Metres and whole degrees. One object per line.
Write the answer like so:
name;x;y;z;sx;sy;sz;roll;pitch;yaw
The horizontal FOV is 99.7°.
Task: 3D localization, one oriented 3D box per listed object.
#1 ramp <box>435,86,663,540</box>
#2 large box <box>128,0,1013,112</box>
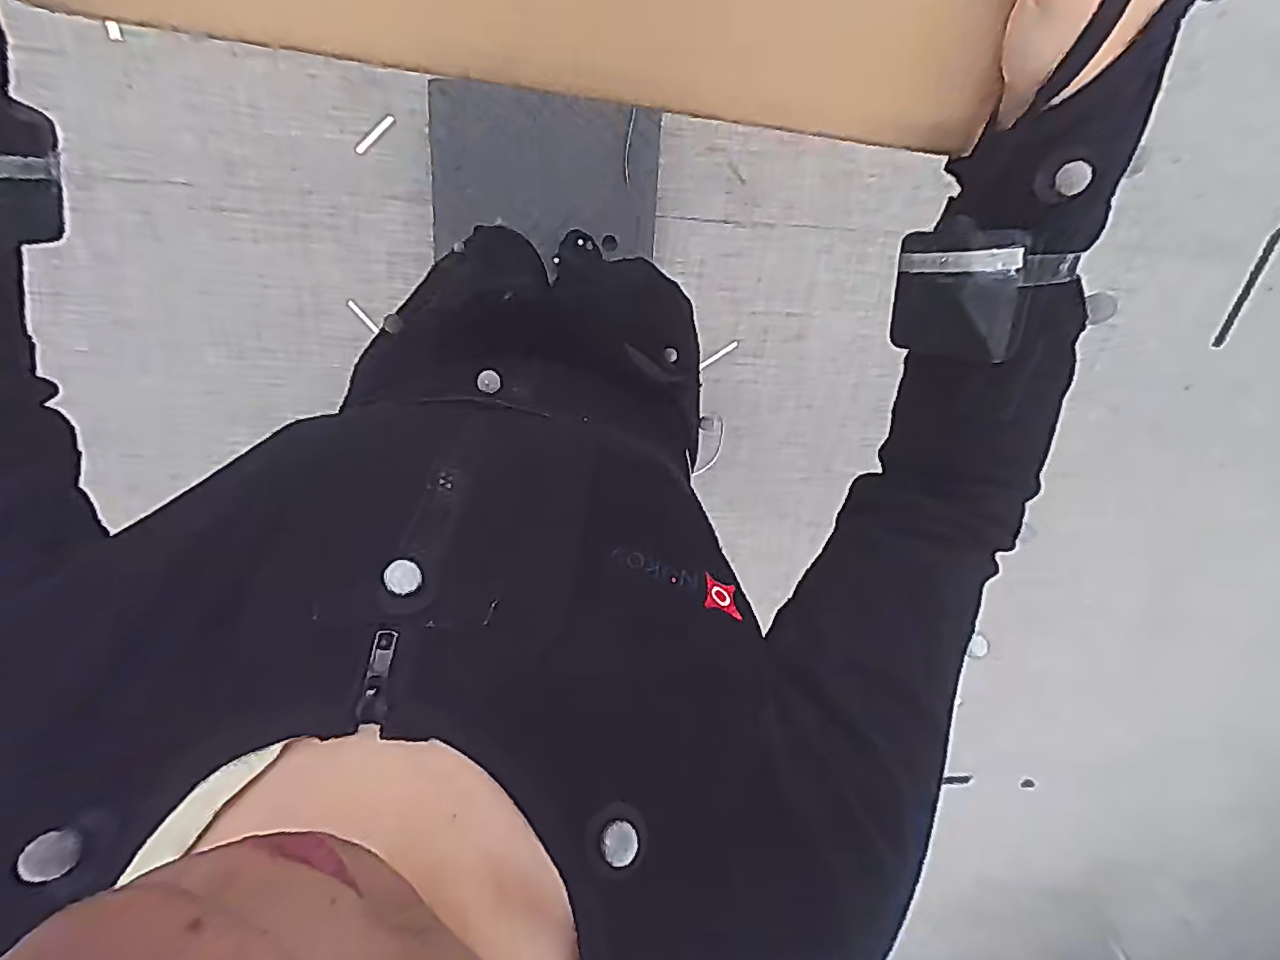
ramp;-0.220;-0.334;1.271;0.509;0.206;0.991;1;114;-4
large box;-0.031;-0.398;0.244;0.408;0.320;0.320;3;133;-8
